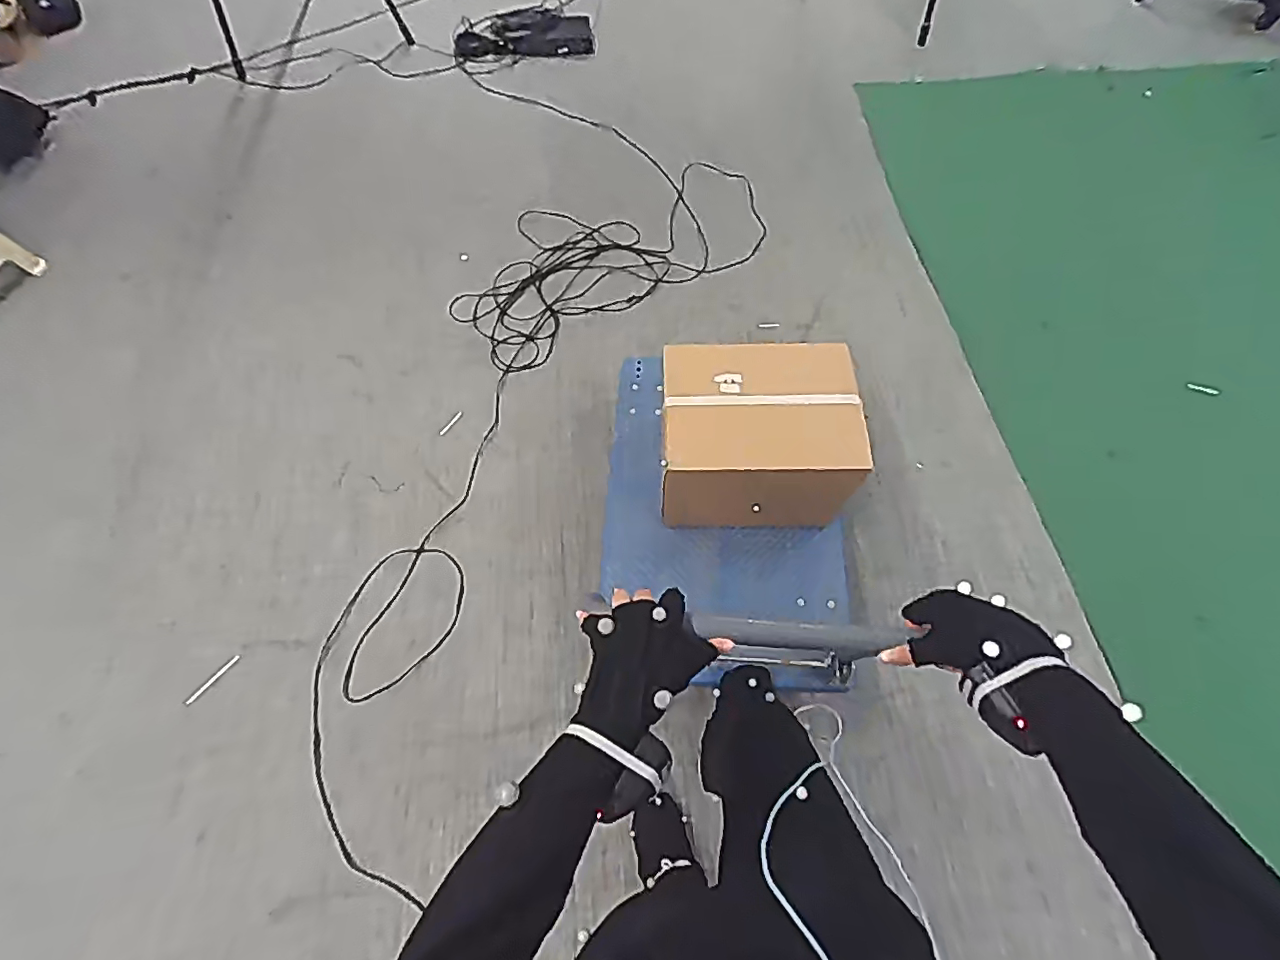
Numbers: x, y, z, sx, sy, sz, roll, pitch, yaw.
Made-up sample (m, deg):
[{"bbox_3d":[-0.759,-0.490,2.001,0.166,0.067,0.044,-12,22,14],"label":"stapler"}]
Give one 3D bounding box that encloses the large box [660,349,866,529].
[{"bbox_3d":[0.255,-0.082,1.268,0.408,0.320,0.320,-2,63,2],"label":"large box"}]
